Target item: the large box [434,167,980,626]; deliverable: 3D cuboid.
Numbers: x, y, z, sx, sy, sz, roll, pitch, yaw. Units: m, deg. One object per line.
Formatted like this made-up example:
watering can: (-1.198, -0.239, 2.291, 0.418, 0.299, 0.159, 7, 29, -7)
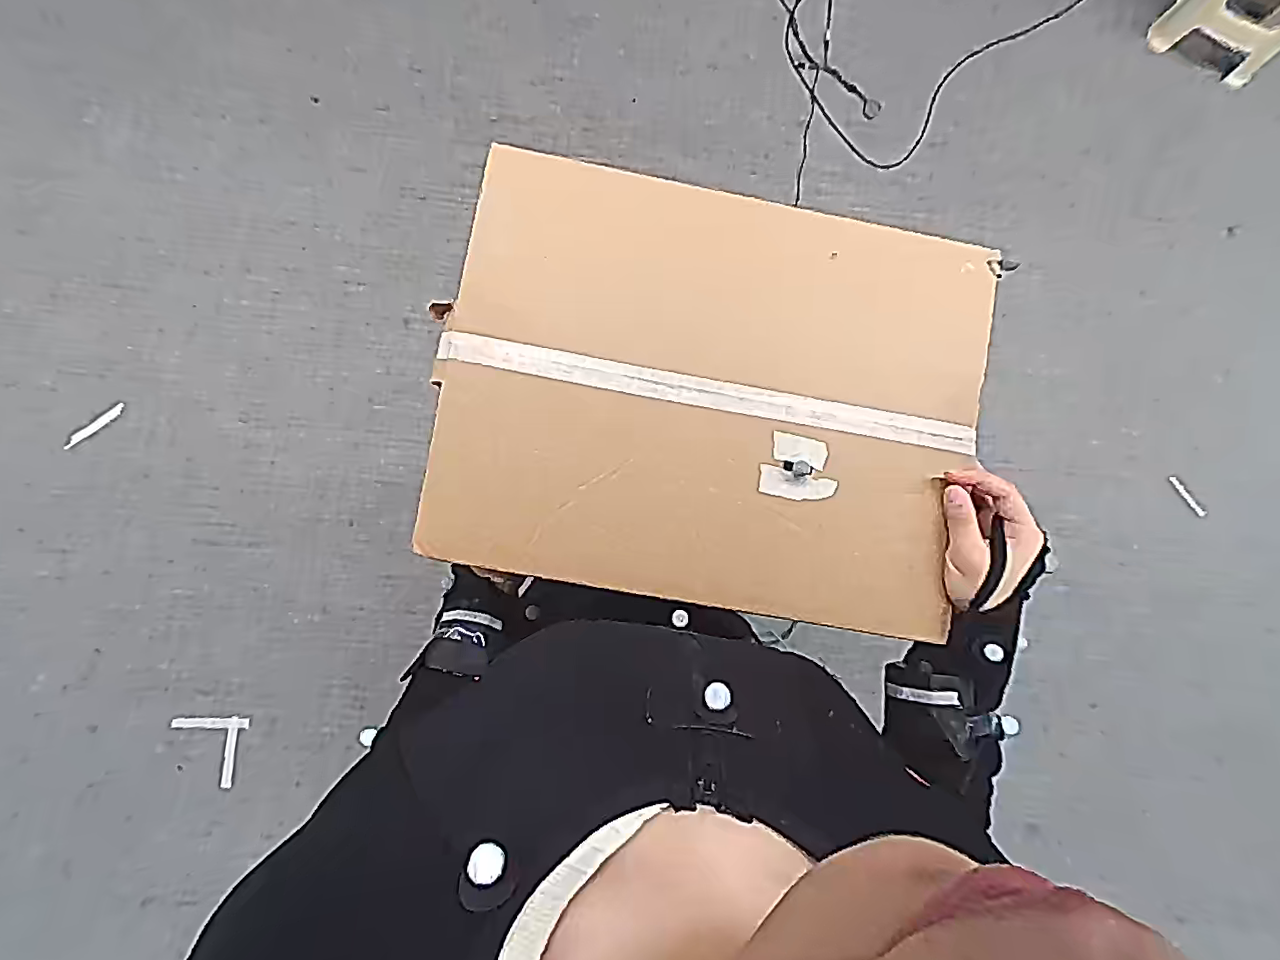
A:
large box: (0.050, -0.056, 0.567, 0.408, 0.320, 0.320, 10, 87, -4)
